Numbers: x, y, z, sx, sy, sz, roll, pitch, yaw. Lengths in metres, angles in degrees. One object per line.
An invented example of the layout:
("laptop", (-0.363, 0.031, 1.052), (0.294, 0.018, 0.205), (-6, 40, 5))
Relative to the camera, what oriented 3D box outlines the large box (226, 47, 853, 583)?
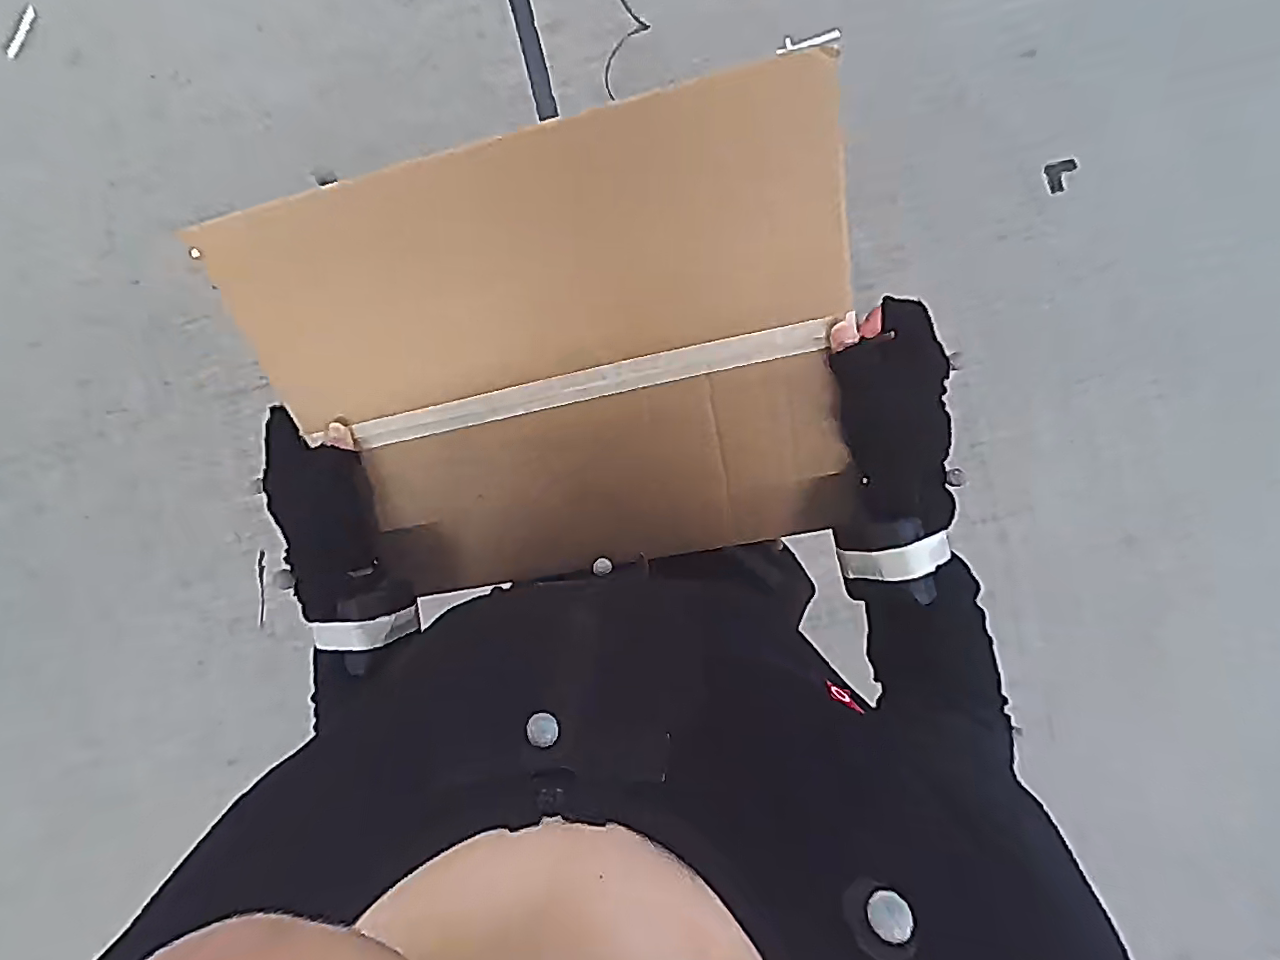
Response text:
("large box", (-0.050, -0.142, 0.530), (0.408, 0.320, 0.320), (-11, 118, 9))
